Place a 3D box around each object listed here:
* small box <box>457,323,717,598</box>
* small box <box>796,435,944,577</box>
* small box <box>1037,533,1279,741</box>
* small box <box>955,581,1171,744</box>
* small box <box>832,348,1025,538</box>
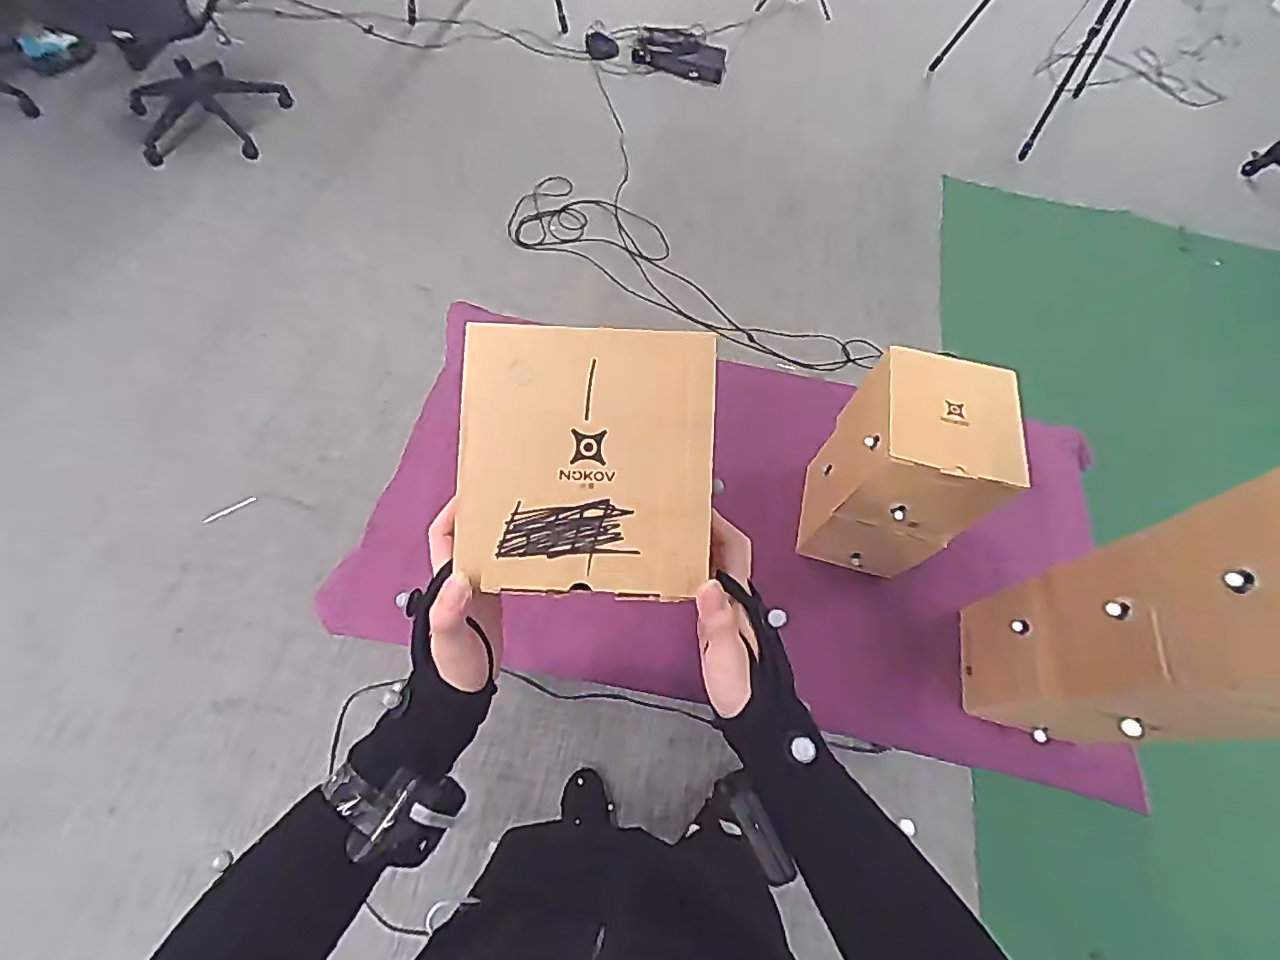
[{"bbox_3d":[-0.035,-0.010,0.433,0.168,0.176,0.179,2,87,-1],"label":"small box"},{"bbox_3d":[0.365,0.034,0.873,0.168,0.176,0.179,16,63,3],"label":"small box"},{"bbox_3d":[0.604,0.189,0.632,0.168,0.176,0.179,15,63,4],"label":"small box"},{"bbox_3d":[0.589,0.266,0.775,0.179,0.176,0.168,16,62,3],"label":"small box"},{"bbox_3d":[0.372,-0.043,0.730,0.168,0.176,0.179,13,63,1],"label":"small box"}]
